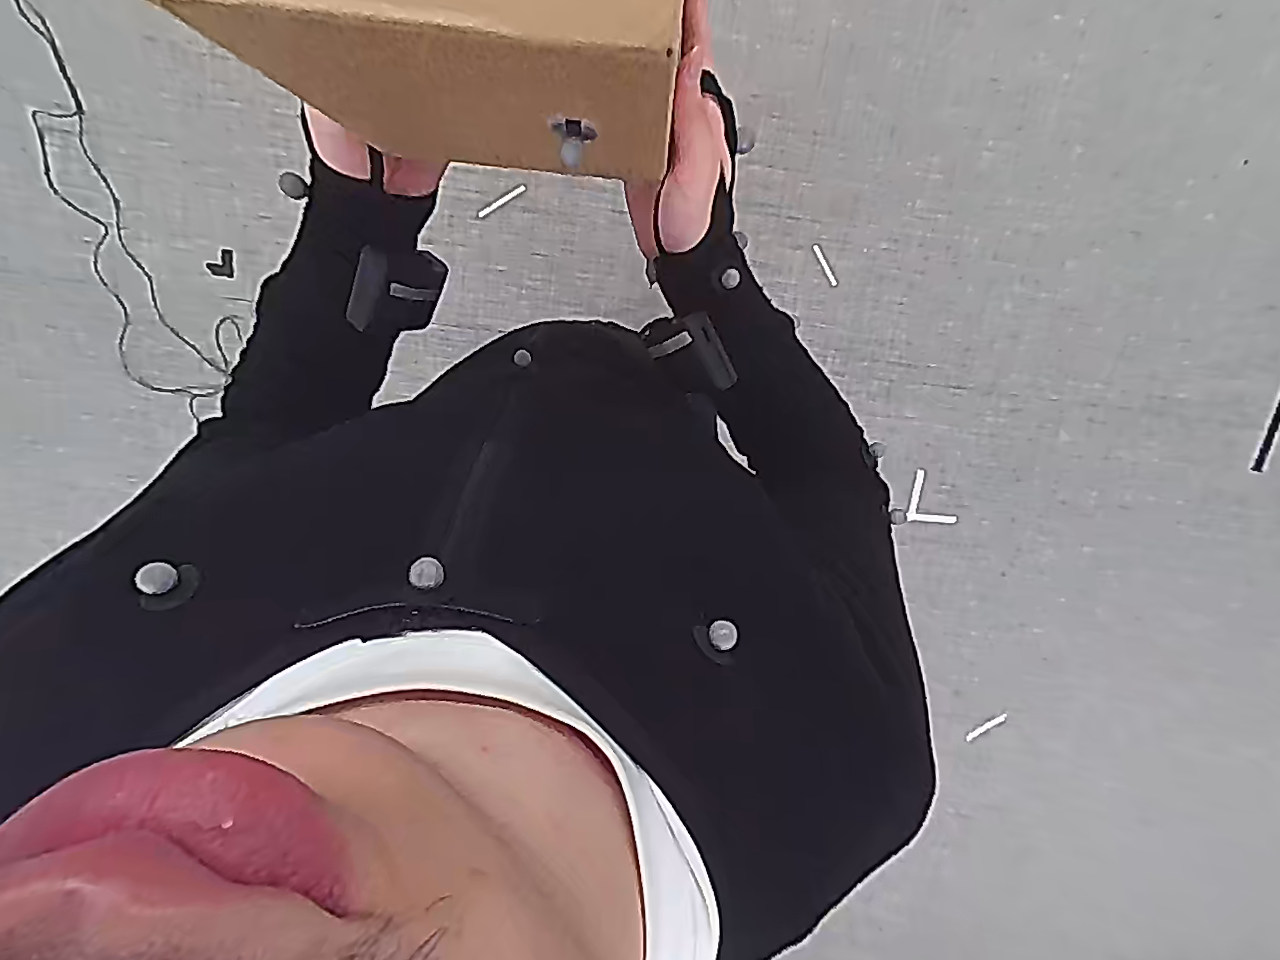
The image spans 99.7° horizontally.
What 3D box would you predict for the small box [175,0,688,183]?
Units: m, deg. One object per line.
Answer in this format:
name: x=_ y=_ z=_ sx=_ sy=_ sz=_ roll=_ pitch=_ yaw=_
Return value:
small box: x=-0.064 y=-0.249 z=0.243 sx=0.179 sy=0.176 sz=0.168 roll=6 pitch=104 yaw=0
